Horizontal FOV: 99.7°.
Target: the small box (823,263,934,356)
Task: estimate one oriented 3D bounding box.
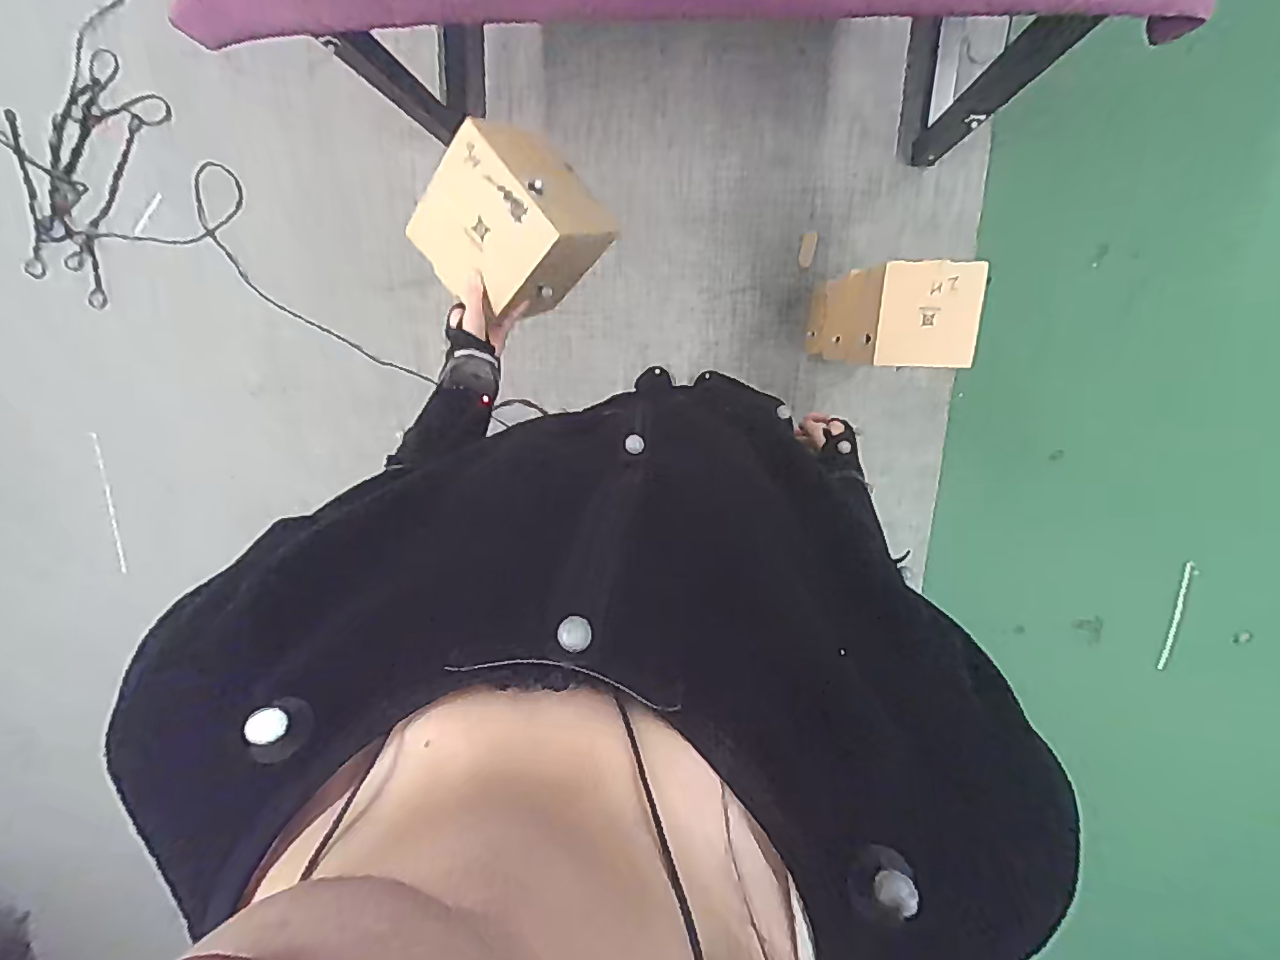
[{"bbox_3d":[0.495,-0.355,1.148,0.168,0.176,0.179,2,105,5],"label":"small box"}]

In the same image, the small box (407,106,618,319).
[{"bbox_3d":[-0.160,-0.344,0.712,0.179,0.176,0.168,-34,98,37],"label":"small box"}]

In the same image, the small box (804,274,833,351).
[{"bbox_3d":[0.505,-0.395,1.305,0.179,0.176,0.168,4,104,4],"label":"small box"}]
